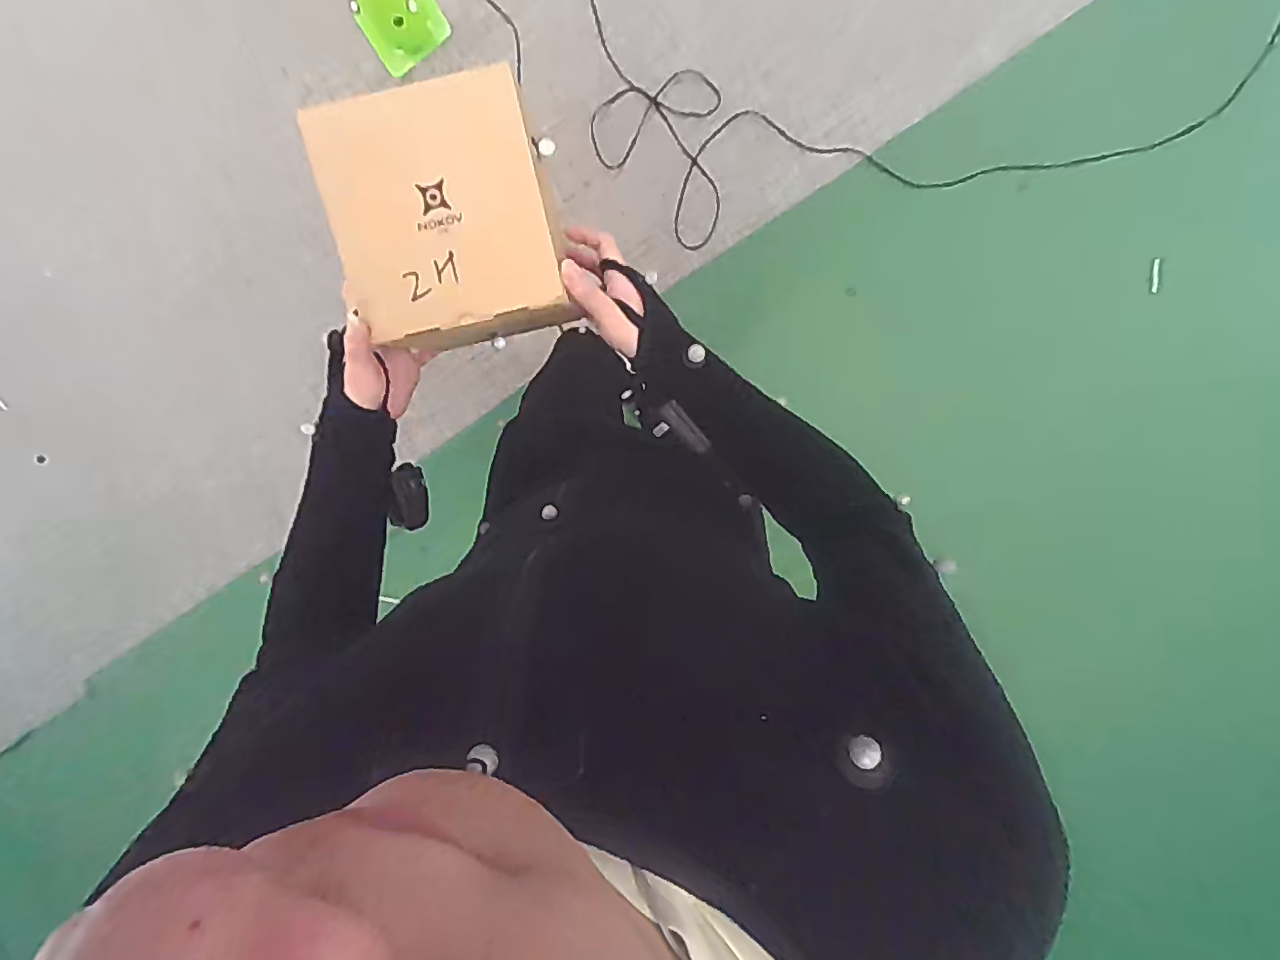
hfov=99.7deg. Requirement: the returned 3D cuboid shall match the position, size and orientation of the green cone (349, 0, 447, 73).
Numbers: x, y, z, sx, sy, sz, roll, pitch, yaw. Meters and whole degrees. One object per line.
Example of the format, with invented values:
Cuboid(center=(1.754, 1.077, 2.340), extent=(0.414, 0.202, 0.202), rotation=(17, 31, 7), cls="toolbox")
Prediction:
Cuboid(center=(-0.633, -1.163, 1.236), extent=(0.202, 0.368, 0.200), rotation=(-32, 100, 8), cls="green cone")
